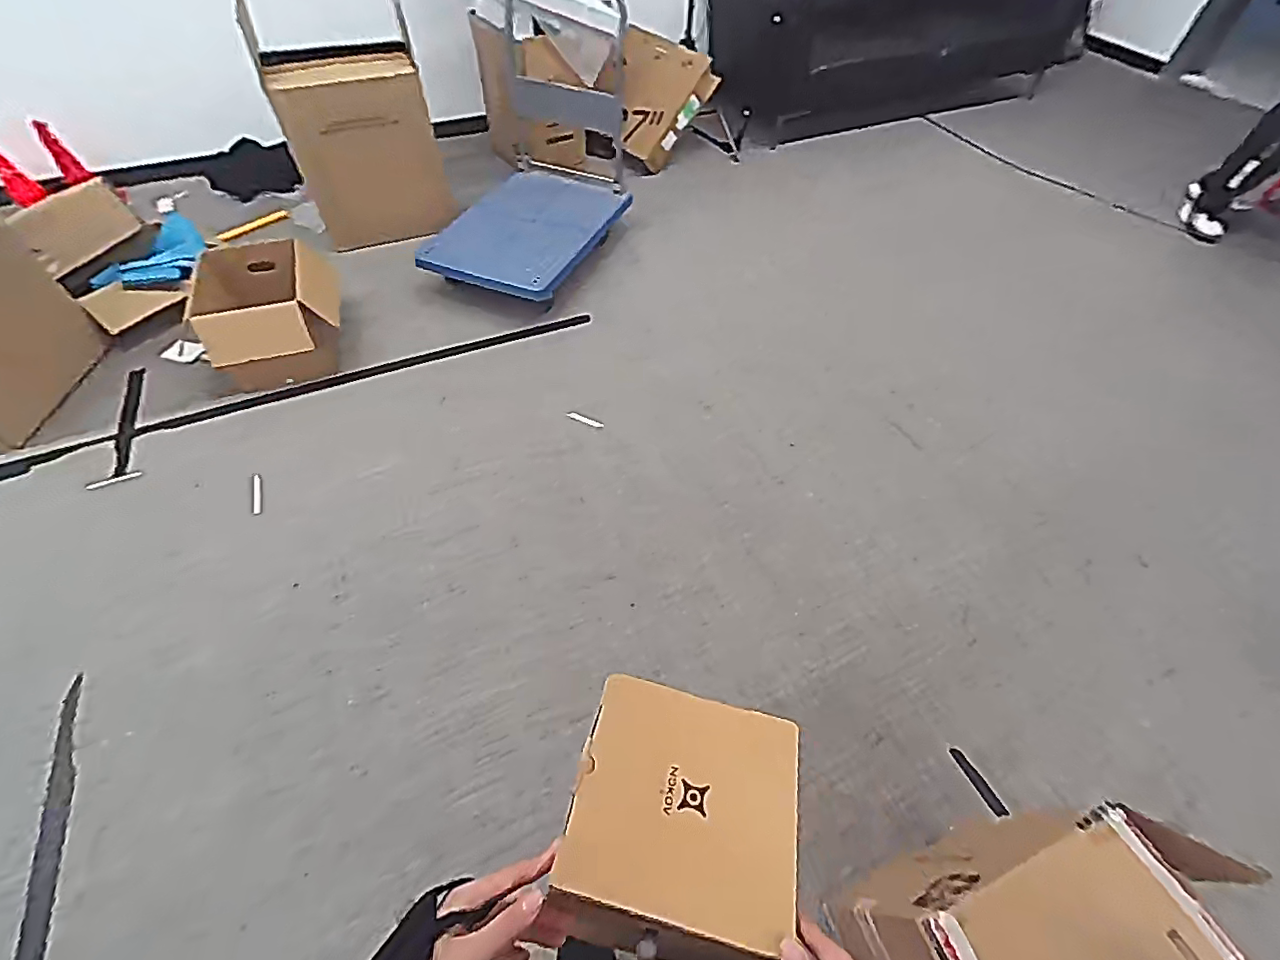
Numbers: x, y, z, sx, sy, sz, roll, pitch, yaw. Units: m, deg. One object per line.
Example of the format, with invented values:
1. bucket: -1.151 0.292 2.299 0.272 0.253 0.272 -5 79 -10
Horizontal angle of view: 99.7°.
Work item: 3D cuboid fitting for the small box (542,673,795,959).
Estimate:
1. small box: 0.025 0.303 0.475 0.179 0.176 0.168 12 43 5
